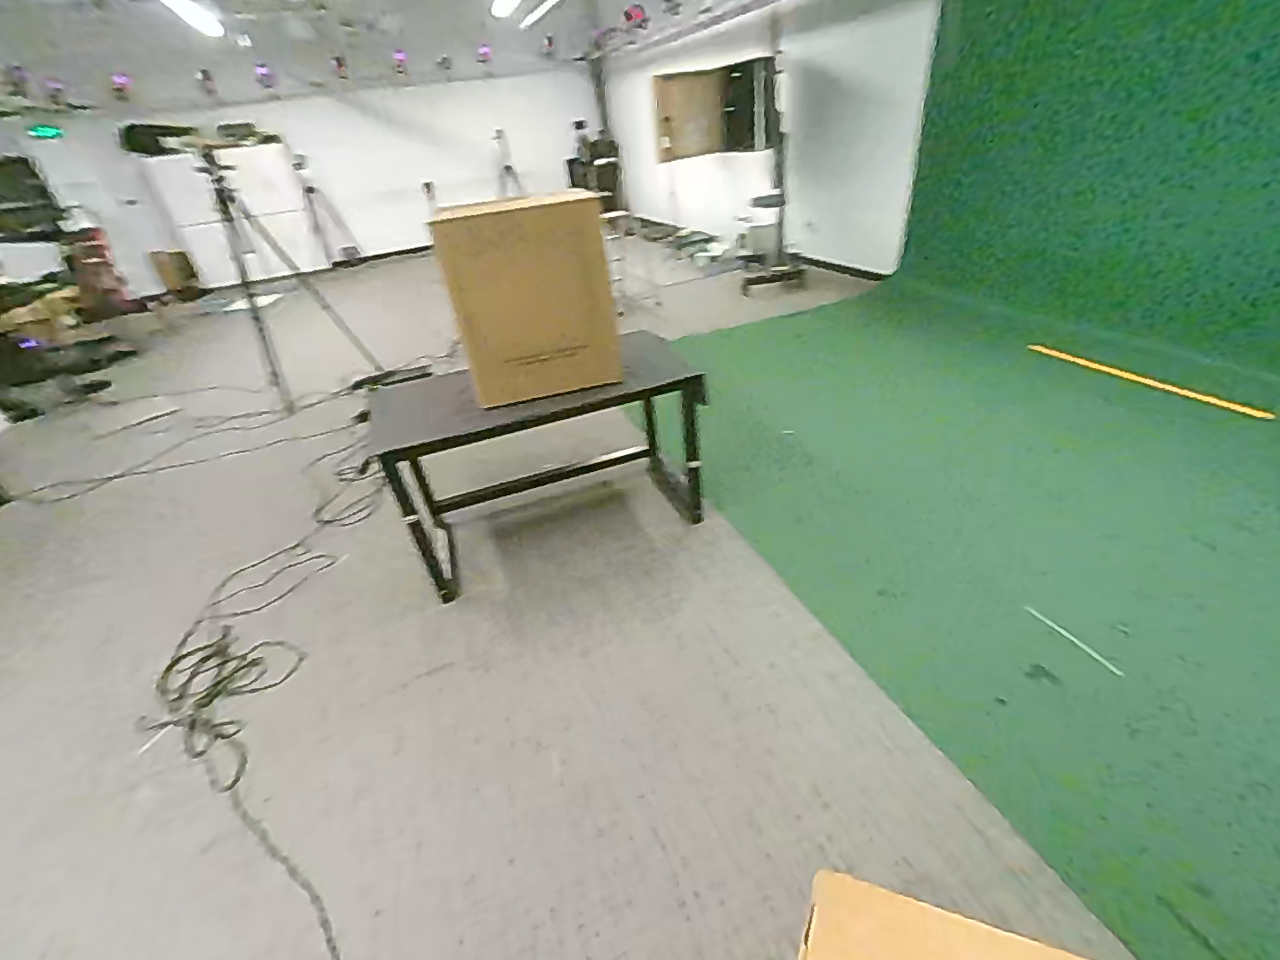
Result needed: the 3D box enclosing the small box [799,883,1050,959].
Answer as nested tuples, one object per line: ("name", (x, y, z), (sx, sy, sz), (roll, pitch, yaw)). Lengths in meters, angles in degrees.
("small box", (0.164, 0.372, 0.276), (0.179, 0.176, 0.168), (3, 7, 24))
